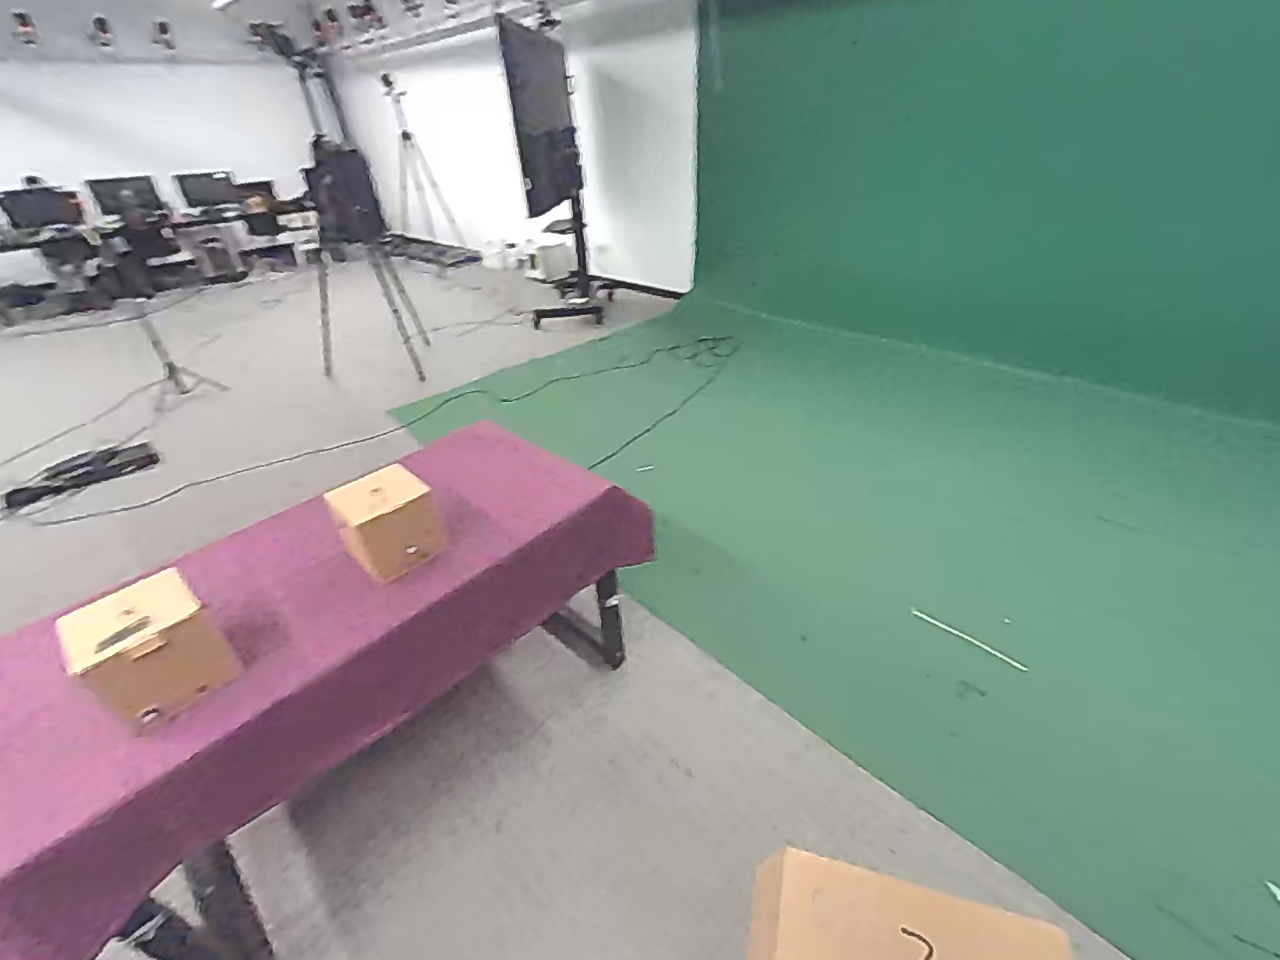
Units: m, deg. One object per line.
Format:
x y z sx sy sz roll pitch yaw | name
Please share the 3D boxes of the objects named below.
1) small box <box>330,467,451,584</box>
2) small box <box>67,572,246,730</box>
-0.551 0.100 1.206 0.179 0.176 0.168 27 45 37 | small box
-0.832 0.299 0.942 0.179 0.176 0.168 23 42 36 | small box
